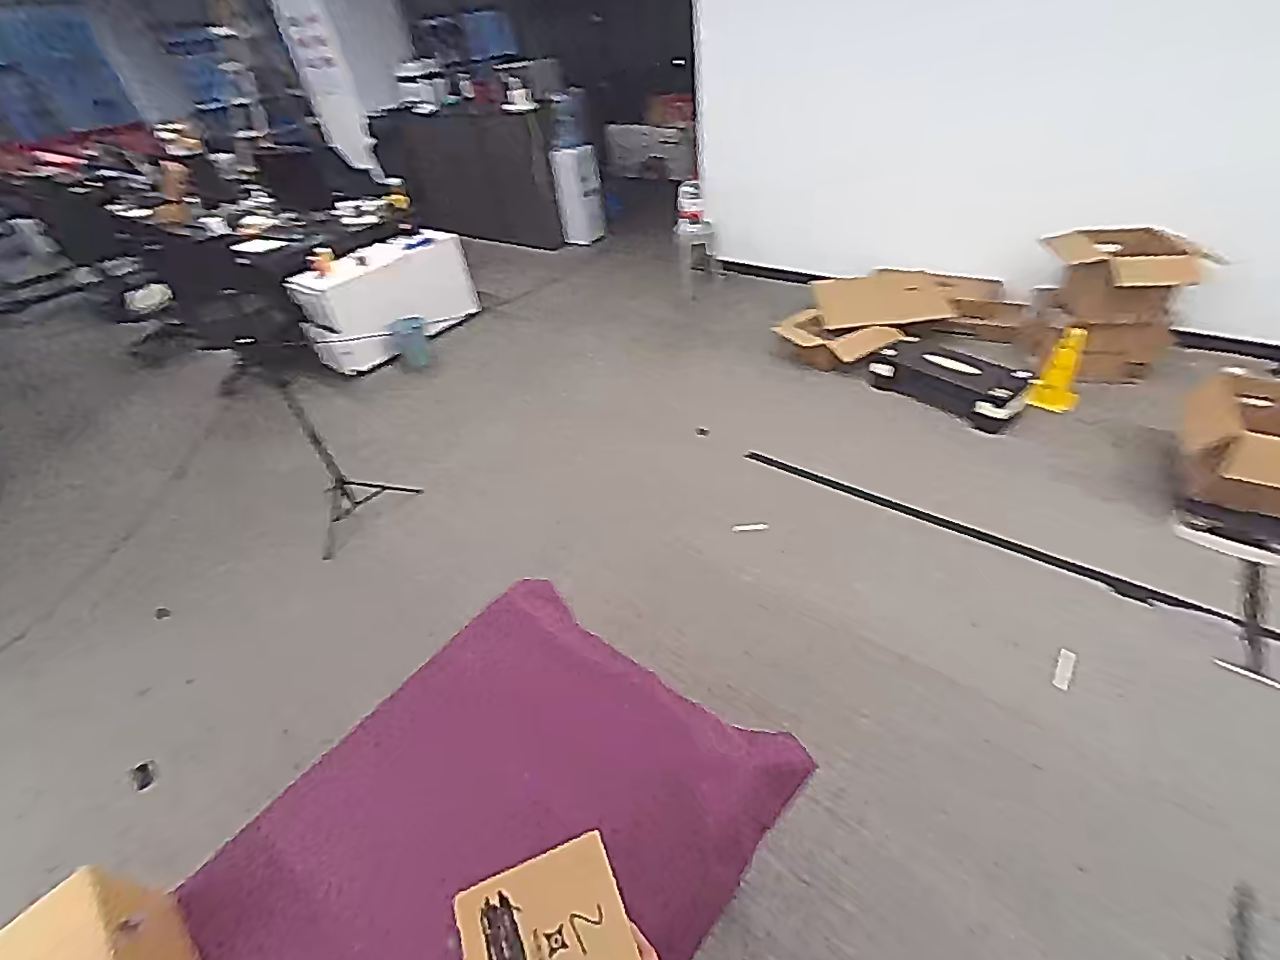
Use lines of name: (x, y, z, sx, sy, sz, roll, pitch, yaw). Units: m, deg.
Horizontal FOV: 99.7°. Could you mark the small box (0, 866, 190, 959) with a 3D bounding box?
small box: (-0.698, 0.634, 0.663, 0.179, 0.176, 0.168, 26, 50, 33)
